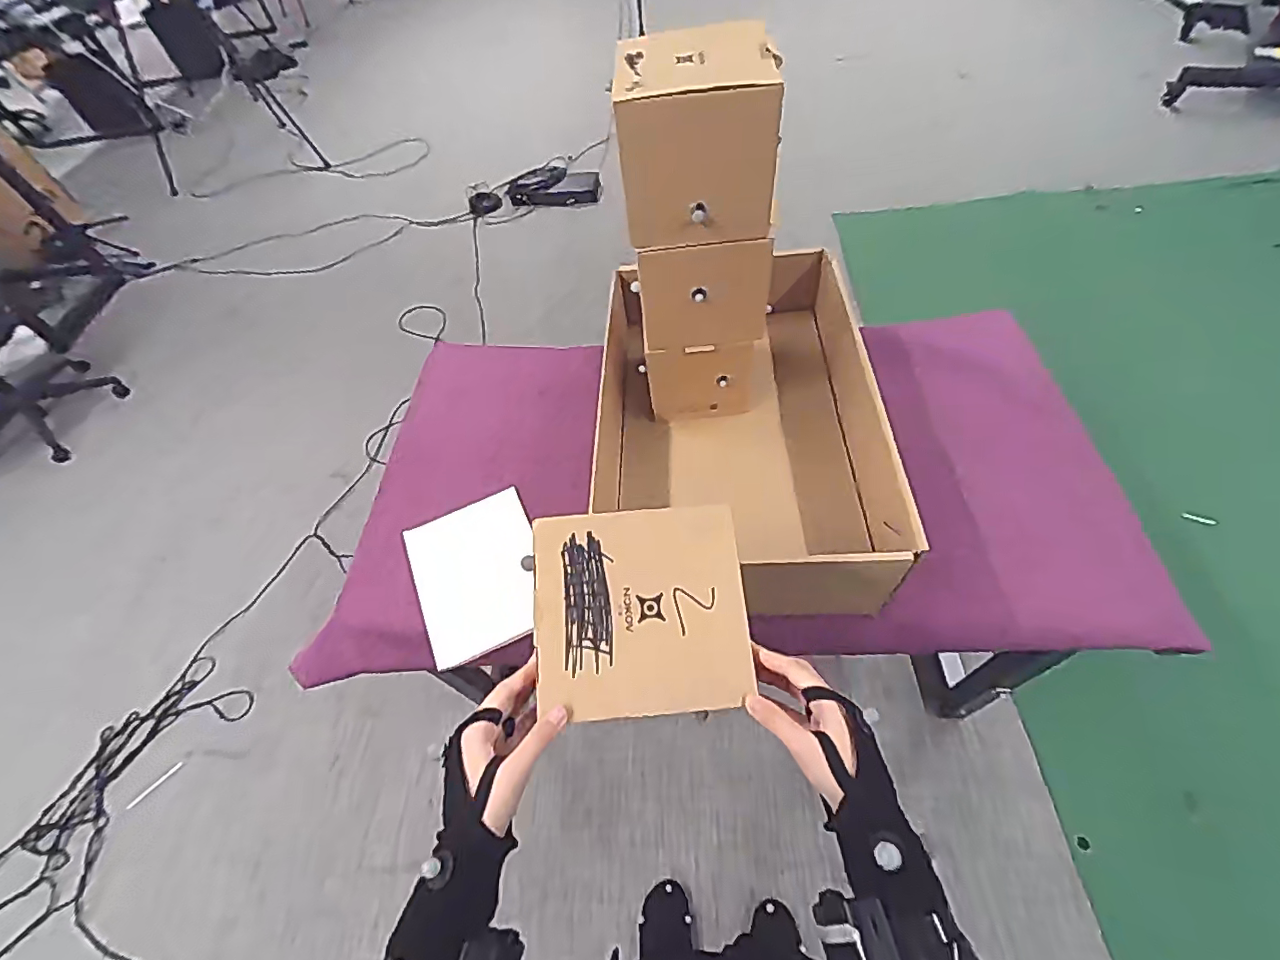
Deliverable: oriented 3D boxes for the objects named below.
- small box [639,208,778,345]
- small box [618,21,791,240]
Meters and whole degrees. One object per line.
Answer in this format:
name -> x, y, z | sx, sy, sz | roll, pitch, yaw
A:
small box -> 0.091, -0.318, 0.783 | 0.179, 0.176, 0.168 | -5, 55, 4
small box -> 0.071, -0.412, 0.651 | 0.179, 0.176, 0.168 | -2, 55, 4
